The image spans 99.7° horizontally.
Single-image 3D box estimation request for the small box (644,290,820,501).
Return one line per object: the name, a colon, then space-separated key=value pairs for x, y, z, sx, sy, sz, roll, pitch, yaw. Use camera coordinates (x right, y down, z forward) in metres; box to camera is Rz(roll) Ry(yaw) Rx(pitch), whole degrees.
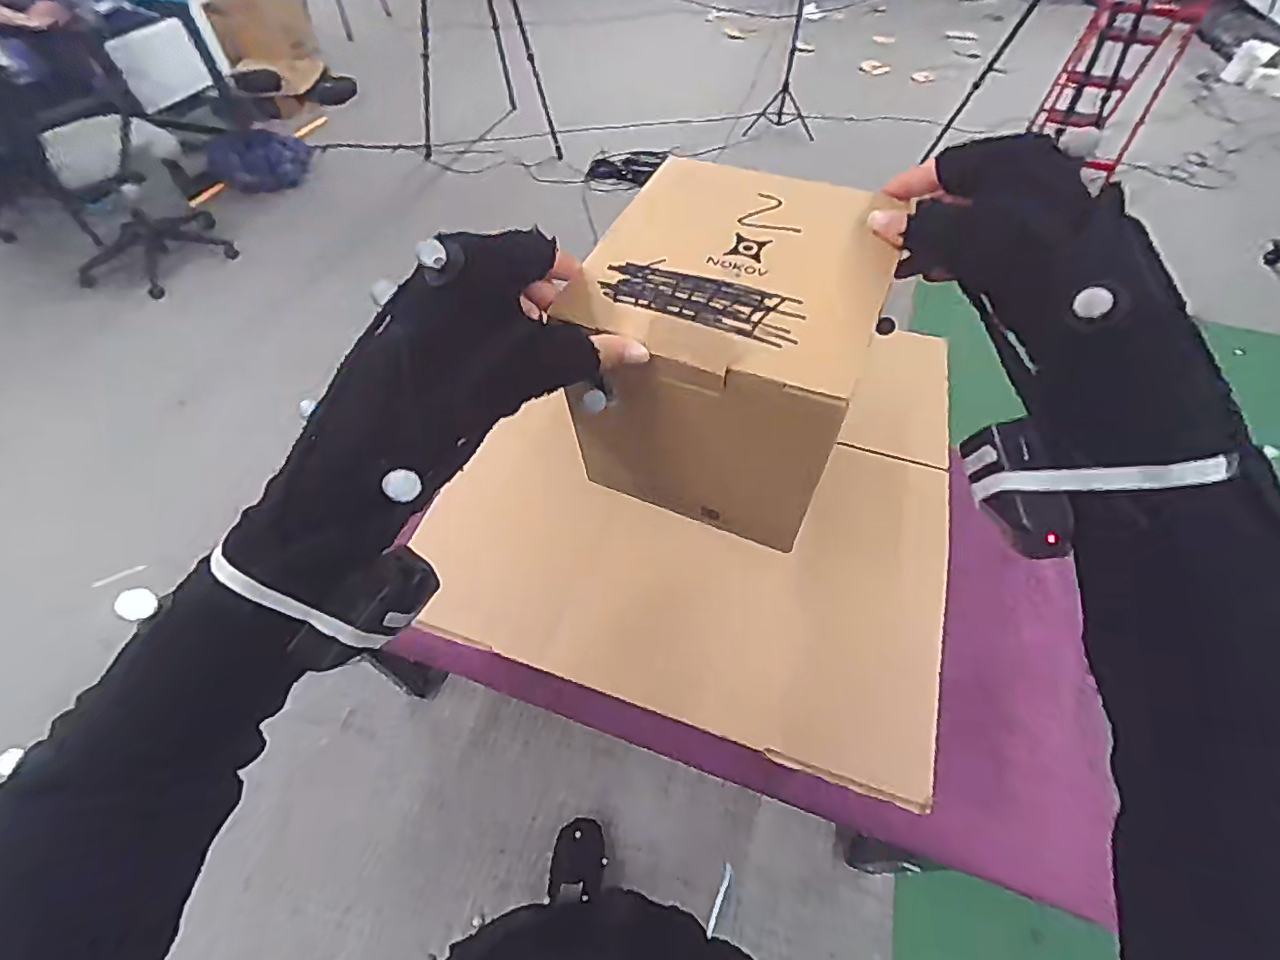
small box: x=0.107 y=-0.099 z=0.660 sx=0.168 sy=0.176 sz=0.179 roll=14 pitch=54 yaw=10
